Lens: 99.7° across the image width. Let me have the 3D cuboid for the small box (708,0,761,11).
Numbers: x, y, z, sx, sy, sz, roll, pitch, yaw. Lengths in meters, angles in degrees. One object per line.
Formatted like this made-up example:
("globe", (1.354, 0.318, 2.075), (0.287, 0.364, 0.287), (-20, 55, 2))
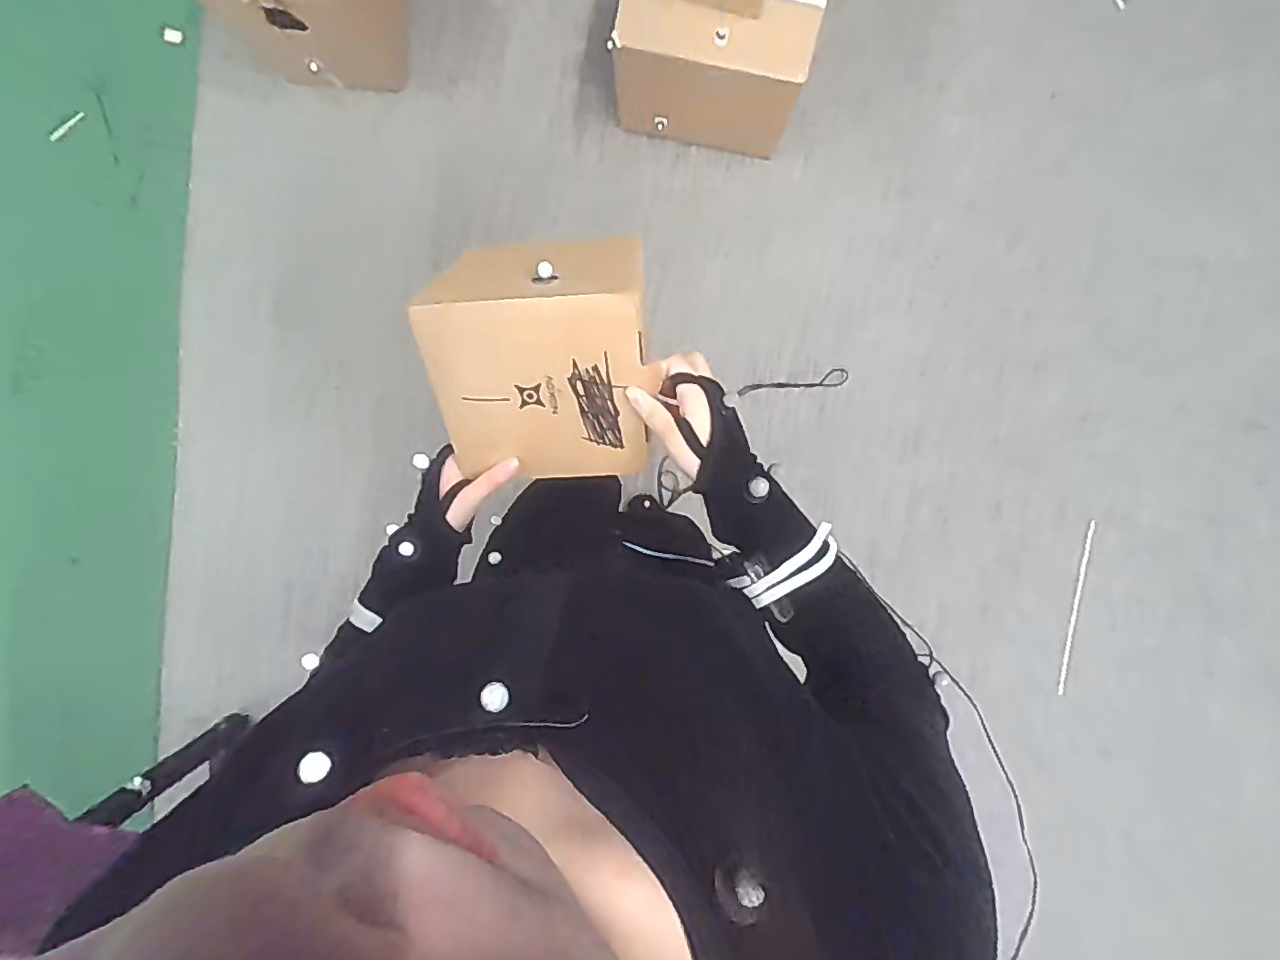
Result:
("small box", (0.173, -1.011, 0.981), (0.179, 0.176, 0.168), (16, 93, 0))

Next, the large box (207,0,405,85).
("large box", (-0.755, -1.211, 1.235), (0.320, 0.320, 0.408), (7, 94, 1))
